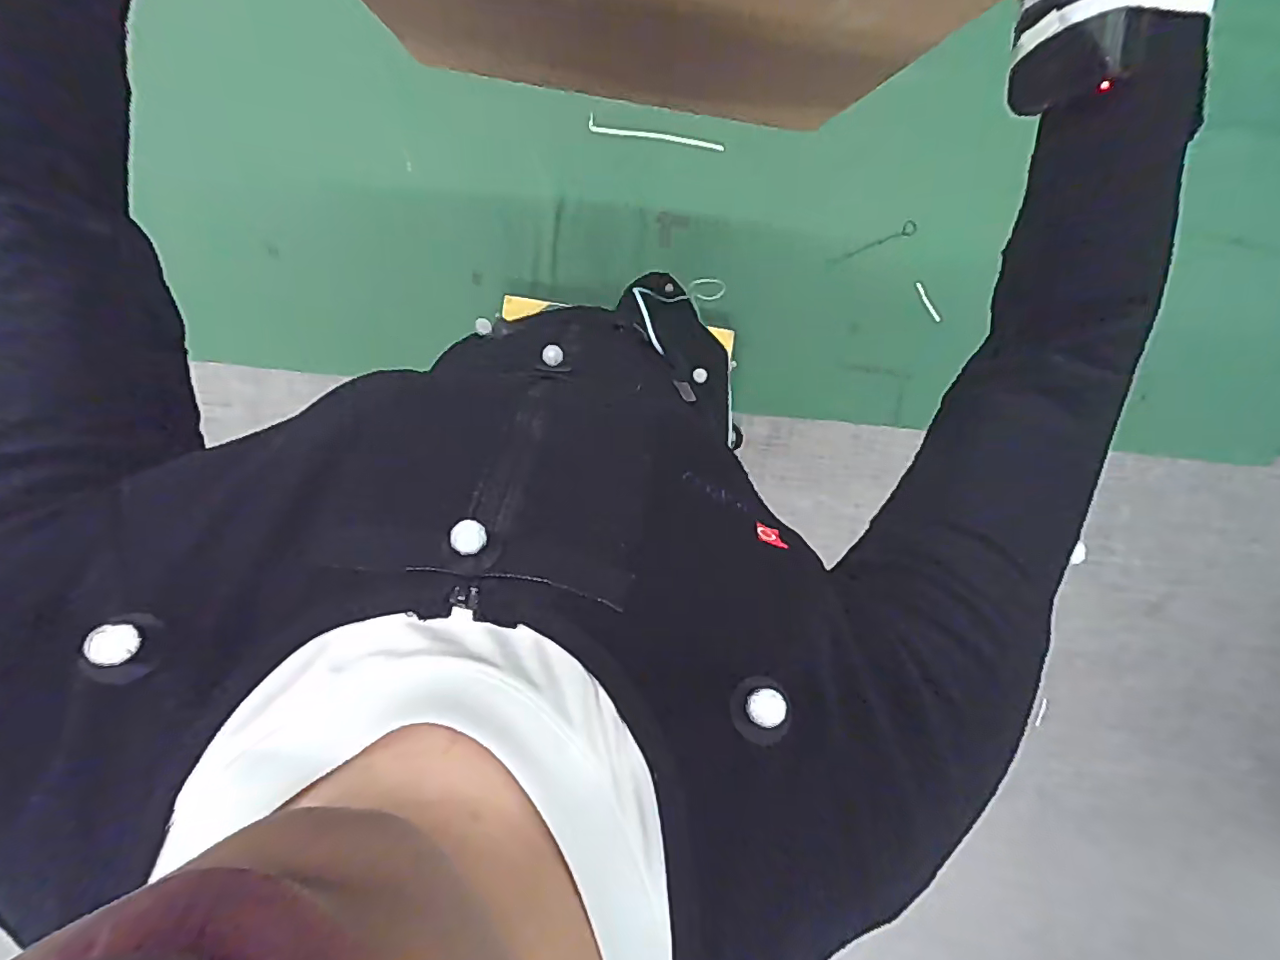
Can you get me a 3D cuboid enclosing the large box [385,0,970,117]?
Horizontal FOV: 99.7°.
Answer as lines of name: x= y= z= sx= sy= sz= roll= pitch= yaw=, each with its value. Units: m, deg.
large box: x=0.016 y=-0.479 z=0.352 sx=0.408 sy=0.320 sz=0.320 roll=5 pitch=111 yaw=-6
